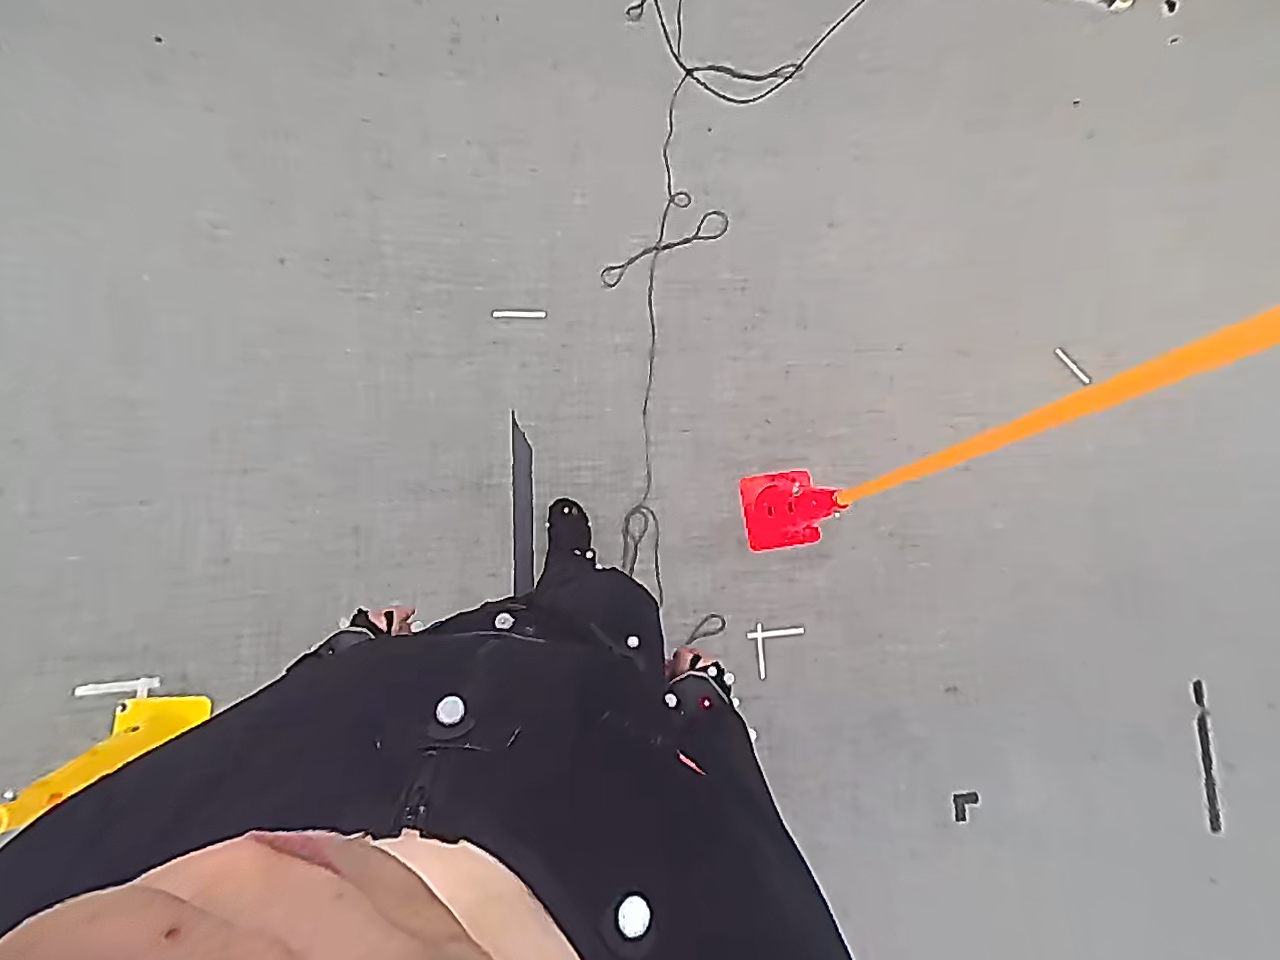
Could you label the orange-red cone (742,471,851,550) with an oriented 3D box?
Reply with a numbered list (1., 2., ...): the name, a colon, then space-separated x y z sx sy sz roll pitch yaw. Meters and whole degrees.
1. orange-red cone: 0.391 0.057 1.259 0.199 0.360 0.198 -7 83 -6
